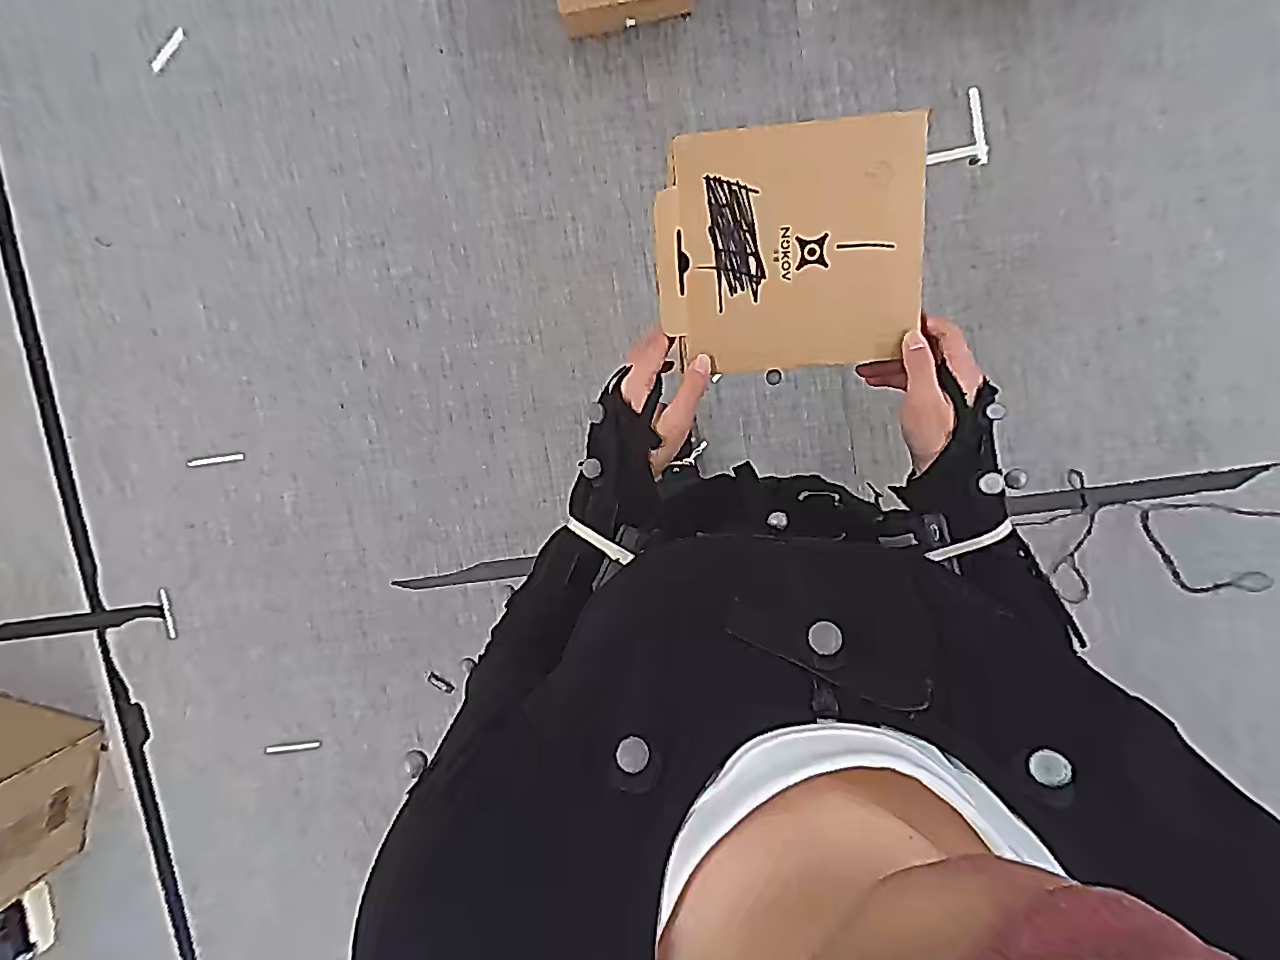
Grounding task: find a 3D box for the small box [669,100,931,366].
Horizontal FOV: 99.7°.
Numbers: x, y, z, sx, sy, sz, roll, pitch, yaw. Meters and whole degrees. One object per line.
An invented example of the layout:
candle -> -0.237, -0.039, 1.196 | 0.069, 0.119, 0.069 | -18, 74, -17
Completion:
small box -> 0.117, -0.187, 0.459 | 0.179, 0.176, 0.168 | -5, 104, 3
